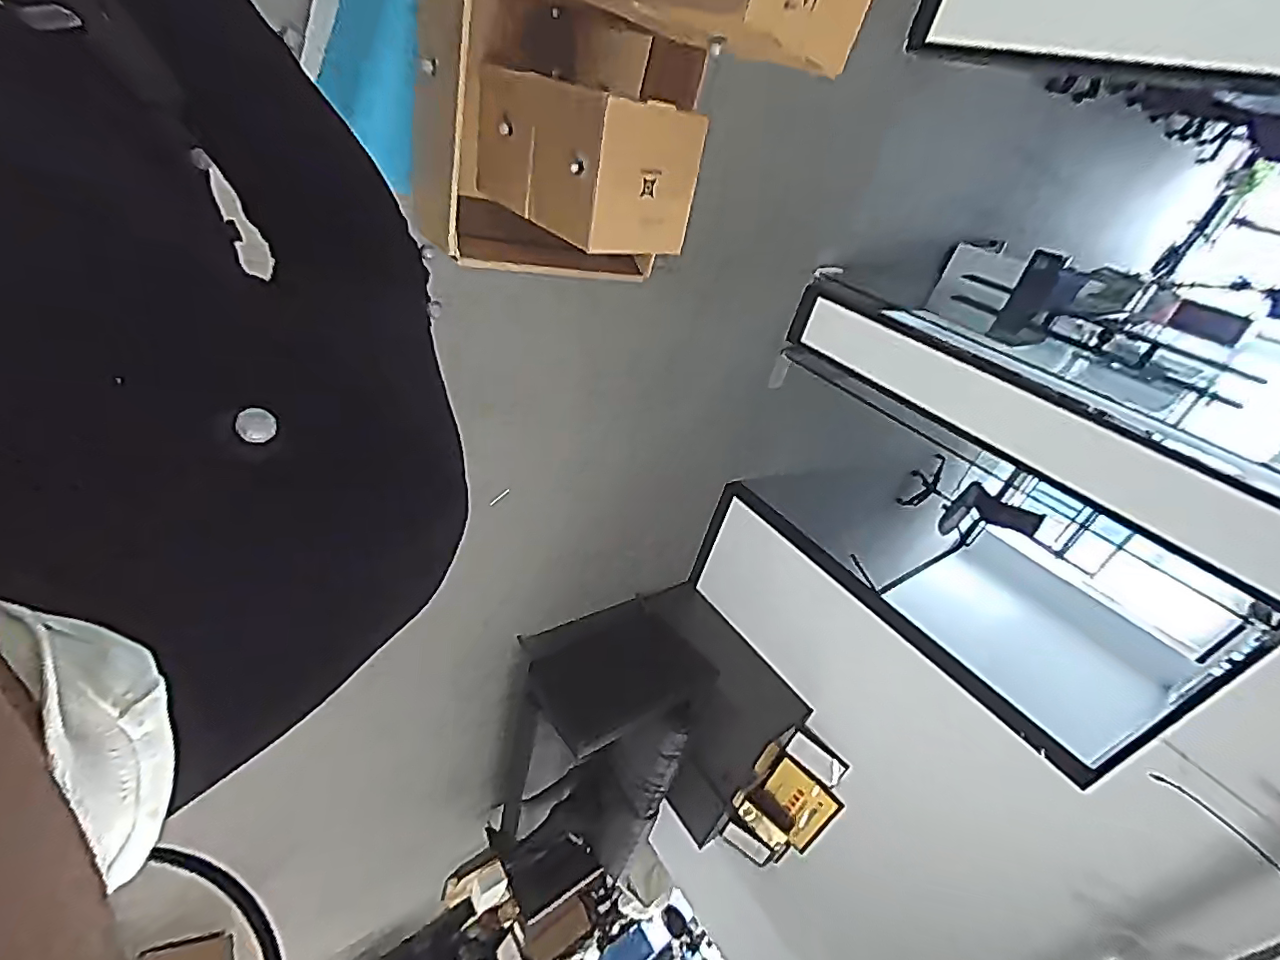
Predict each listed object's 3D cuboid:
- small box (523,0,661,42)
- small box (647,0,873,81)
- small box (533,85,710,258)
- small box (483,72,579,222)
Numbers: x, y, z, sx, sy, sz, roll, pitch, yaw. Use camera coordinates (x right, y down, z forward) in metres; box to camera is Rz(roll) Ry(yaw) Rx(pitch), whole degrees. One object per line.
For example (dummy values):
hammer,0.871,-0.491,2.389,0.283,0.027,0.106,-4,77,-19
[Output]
small box,-0.065,-0.723,0.714,0.168,0.176,0.179,-13,135,-38
small box,0.129,-0.532,0.529,0.168,0.176,0.179,-11,134,-39
small box,-0.035,-0.423,0.747,0.168,0.176,0.179,-16,134,-35
small box,-0.133,-0.511,0.844,0.168,0.176,0.179,-15,133,-37
